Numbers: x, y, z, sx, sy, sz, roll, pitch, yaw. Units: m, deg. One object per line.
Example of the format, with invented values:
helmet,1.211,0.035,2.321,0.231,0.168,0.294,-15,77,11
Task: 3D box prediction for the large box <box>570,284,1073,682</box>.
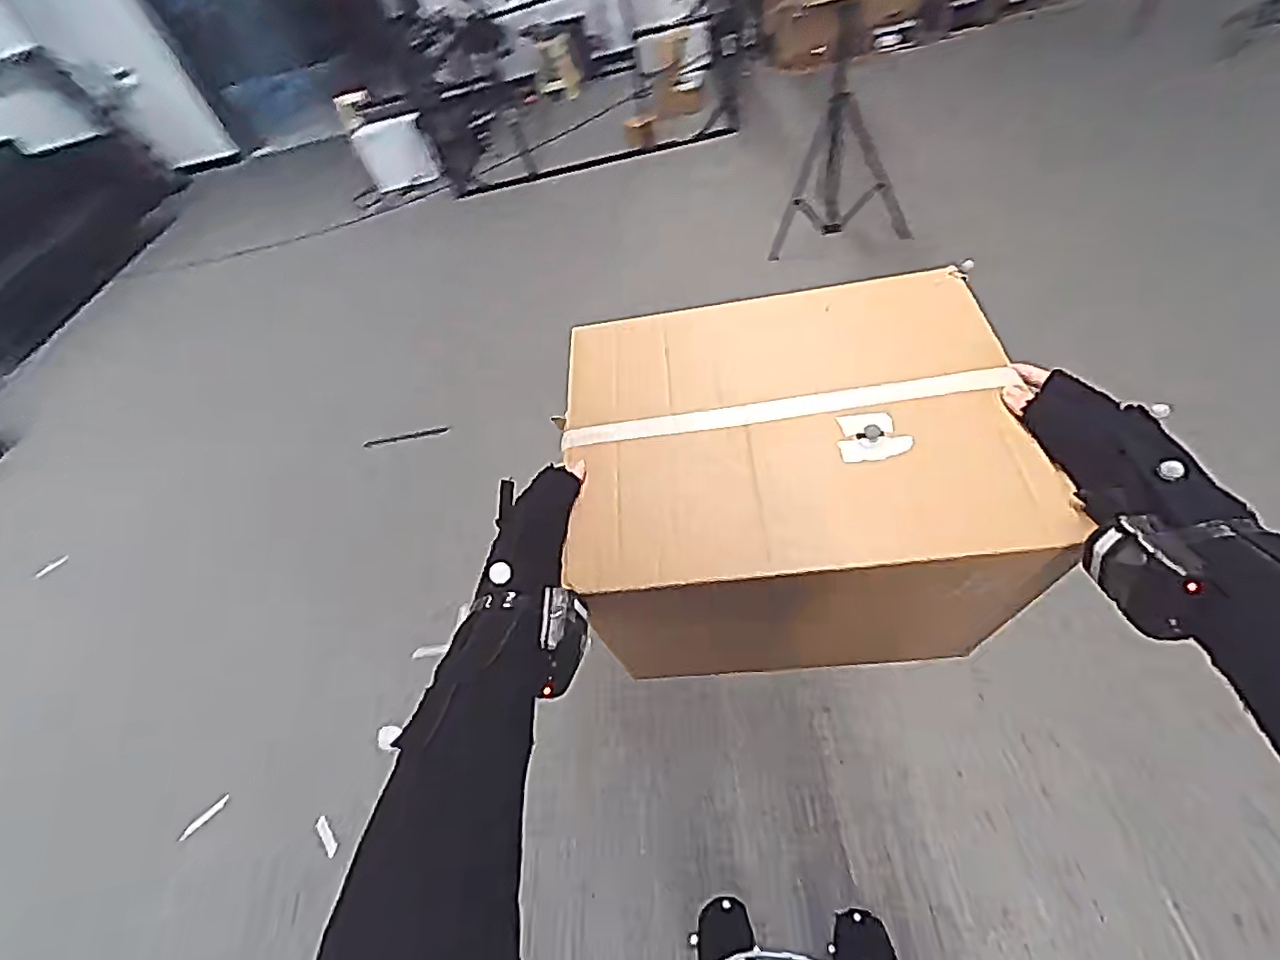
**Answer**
large box,0.149,0.025,0.633,0.408,0.320,0.320,-8,57,6
